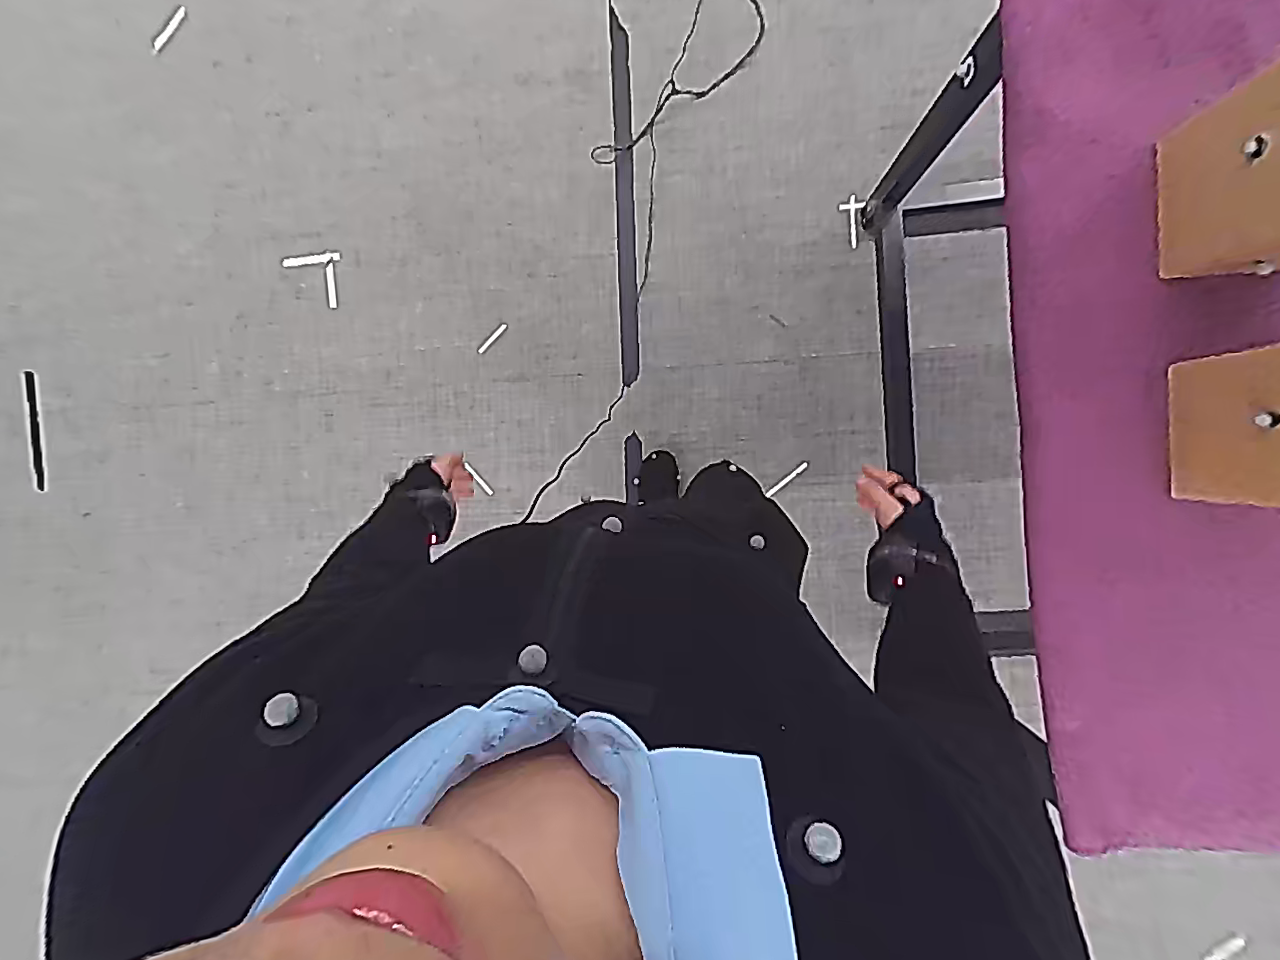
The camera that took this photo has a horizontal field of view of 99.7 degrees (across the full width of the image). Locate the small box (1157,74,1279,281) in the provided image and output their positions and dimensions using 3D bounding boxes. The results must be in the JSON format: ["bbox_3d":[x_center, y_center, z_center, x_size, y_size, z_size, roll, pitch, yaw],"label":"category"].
[{"bbox_3d":[0.739,-0.343,0.610,0.168,0.176,0.179,-3,92,5],"label":"small box"}]

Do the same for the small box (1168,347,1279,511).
[{"bbox_3d":[0.762,-0.058,0.619,0.168,0.176,0.179,-2,91,5],"label":"small box"}]
